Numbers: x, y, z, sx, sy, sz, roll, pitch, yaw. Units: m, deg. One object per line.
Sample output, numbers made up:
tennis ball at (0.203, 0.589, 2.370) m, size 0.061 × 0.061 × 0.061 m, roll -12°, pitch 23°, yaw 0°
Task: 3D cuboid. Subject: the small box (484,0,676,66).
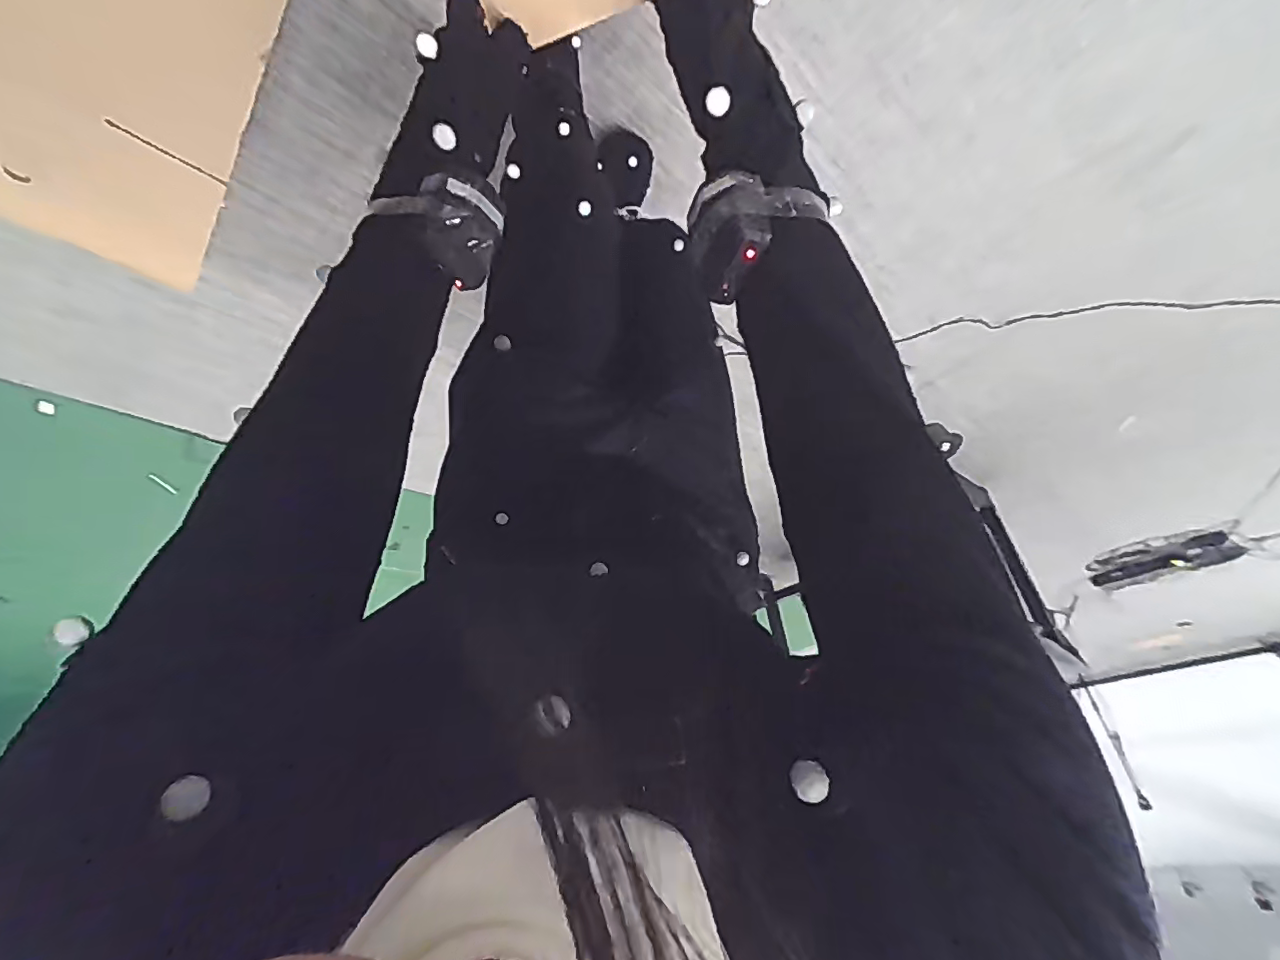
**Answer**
small box at (-0.059, -0.464, 0.394) m, size 0.168 × 0.176 × 0.179 m, roll -13°, pitch 150°, yaw 13°
